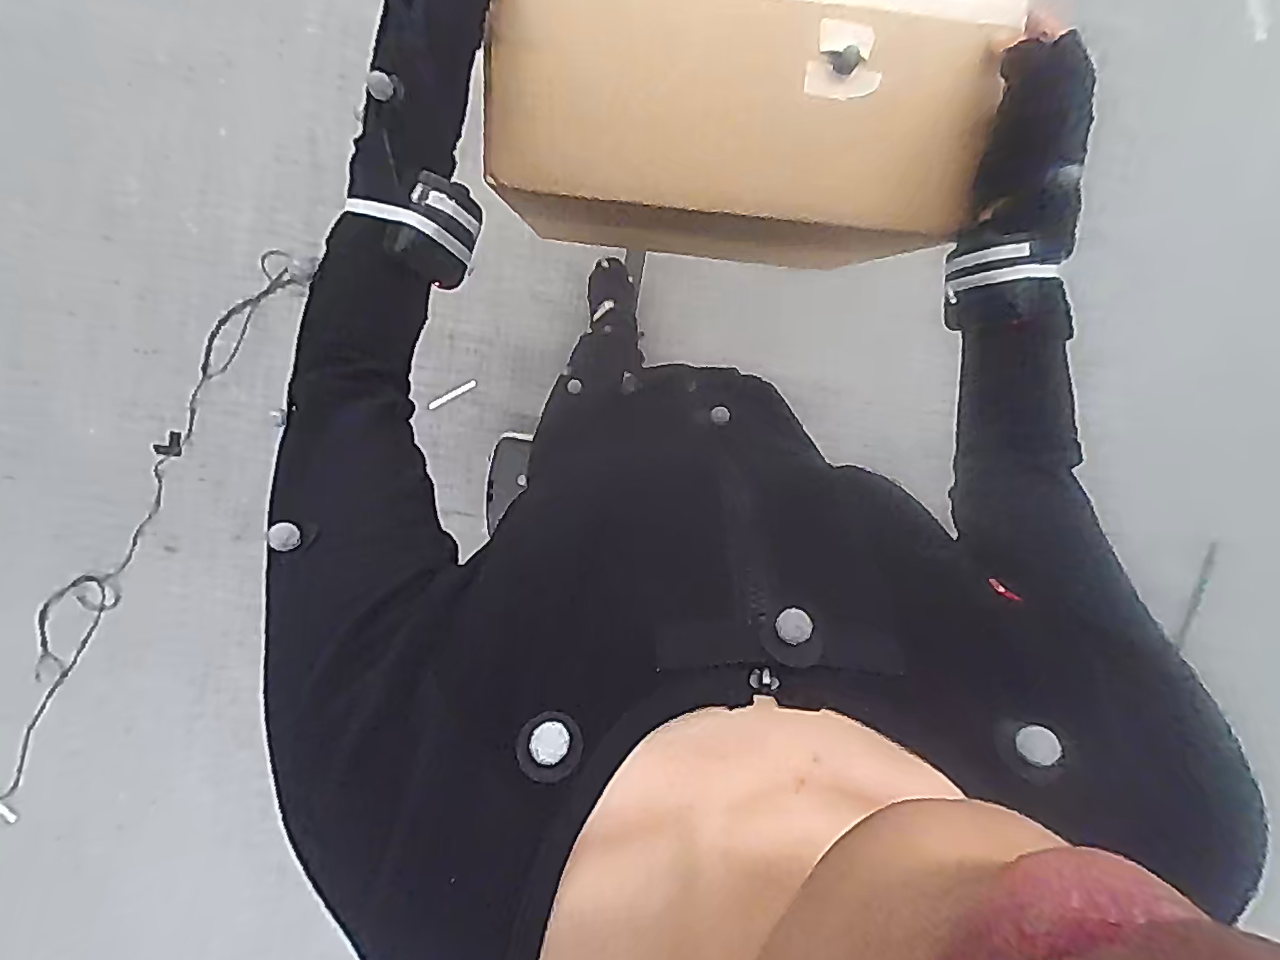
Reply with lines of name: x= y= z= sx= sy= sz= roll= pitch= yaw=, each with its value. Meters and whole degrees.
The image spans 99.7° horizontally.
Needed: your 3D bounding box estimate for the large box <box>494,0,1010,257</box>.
large box: x=0.080 y=-0.421 z=0.549 sx=0.408 sy=0.320 sz=0.320 roll=4 pitch=107 yaw=-5
